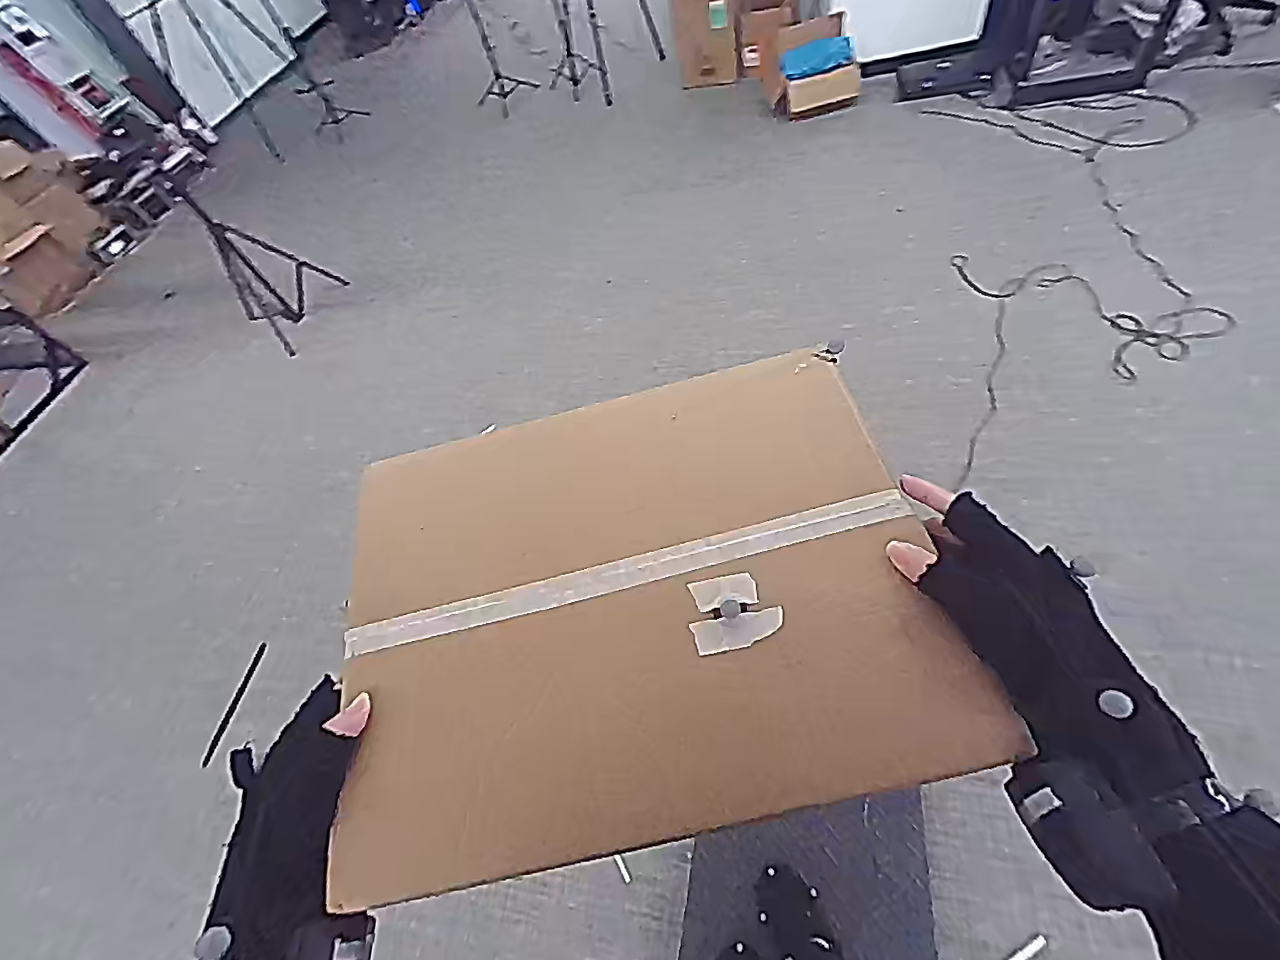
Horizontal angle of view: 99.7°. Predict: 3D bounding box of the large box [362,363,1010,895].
[{"bbox_3d":[0.018,0.148,0.520,0.408,0.320,0.320,-14,59,3],"label":"large box"}]
